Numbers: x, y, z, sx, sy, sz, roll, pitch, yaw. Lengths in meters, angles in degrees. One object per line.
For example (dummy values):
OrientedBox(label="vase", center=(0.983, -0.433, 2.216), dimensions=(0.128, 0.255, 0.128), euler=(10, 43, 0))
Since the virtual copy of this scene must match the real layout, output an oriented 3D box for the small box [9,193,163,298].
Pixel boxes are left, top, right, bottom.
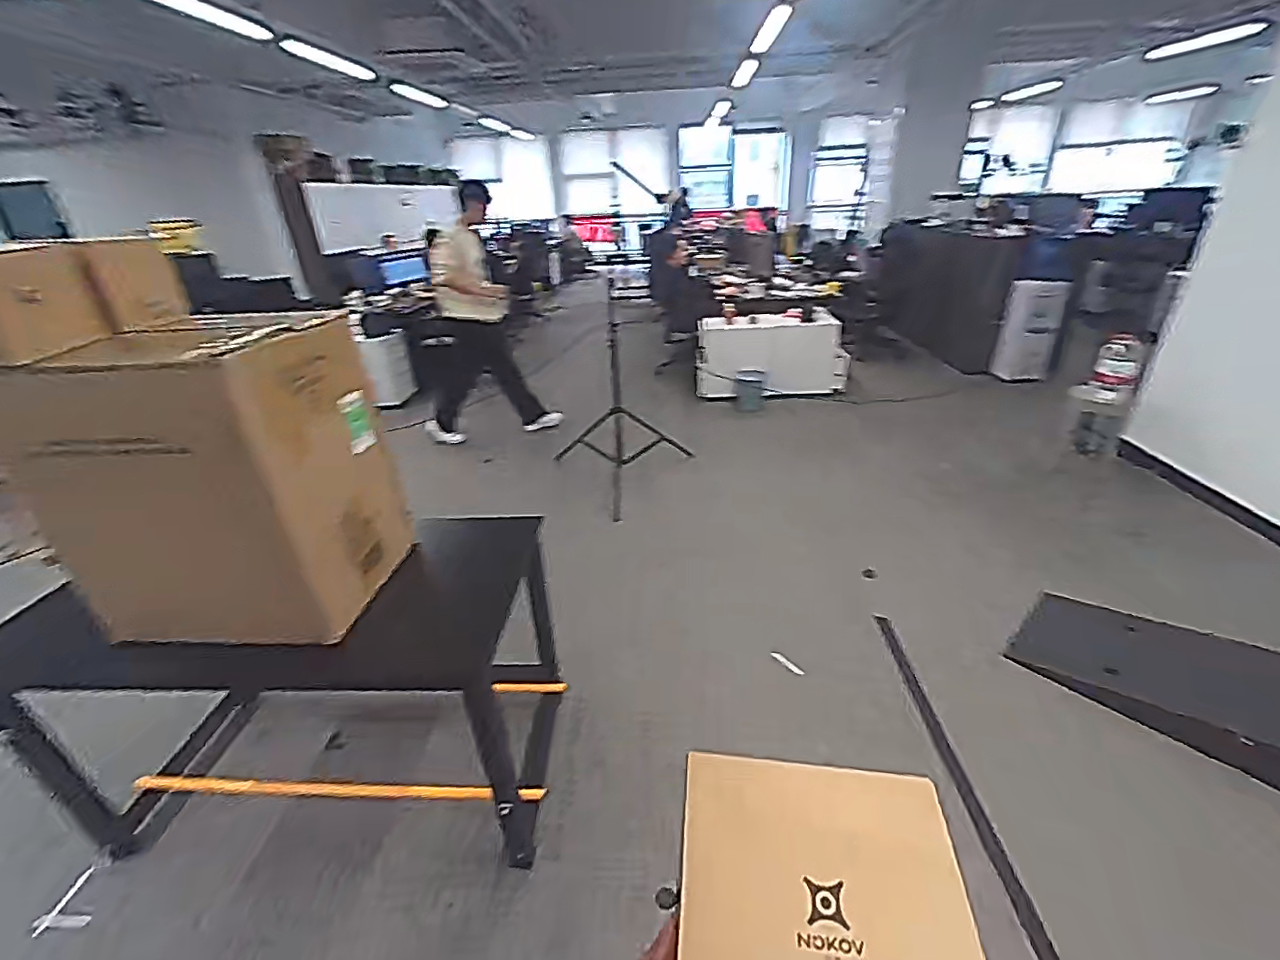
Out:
OrientedBox(label="small box", center=(-1.066, -0.436, 1.011), dimensions=(0.179, 0.176, 0.168), euler=(1, 27, 4))
